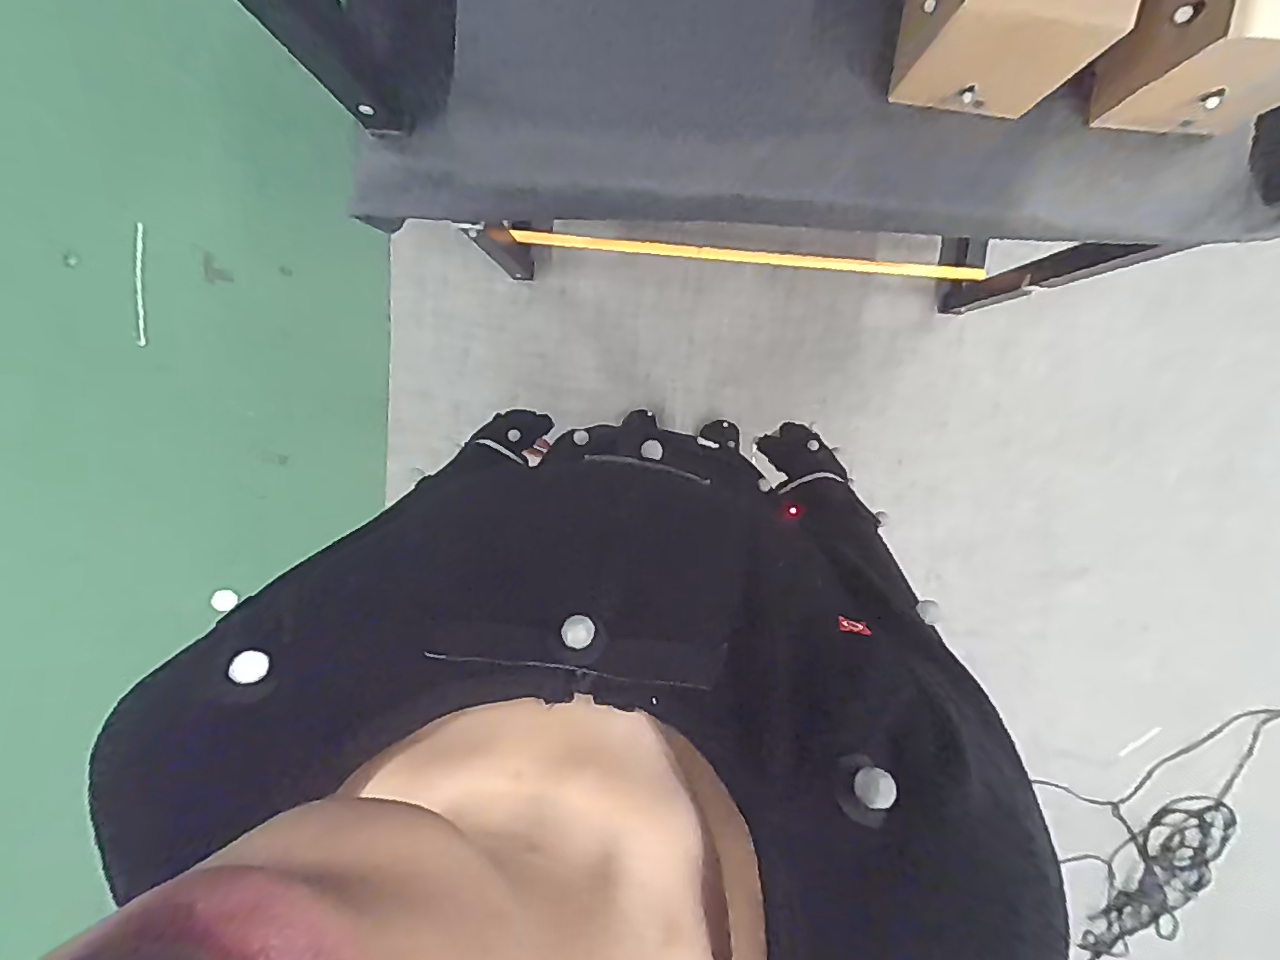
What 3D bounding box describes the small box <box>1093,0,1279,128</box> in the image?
[{"bbox_3d":[0.643,-0.514,0.582,0.168,0.176,0.179,4,97,0],"label":"small box"}]
